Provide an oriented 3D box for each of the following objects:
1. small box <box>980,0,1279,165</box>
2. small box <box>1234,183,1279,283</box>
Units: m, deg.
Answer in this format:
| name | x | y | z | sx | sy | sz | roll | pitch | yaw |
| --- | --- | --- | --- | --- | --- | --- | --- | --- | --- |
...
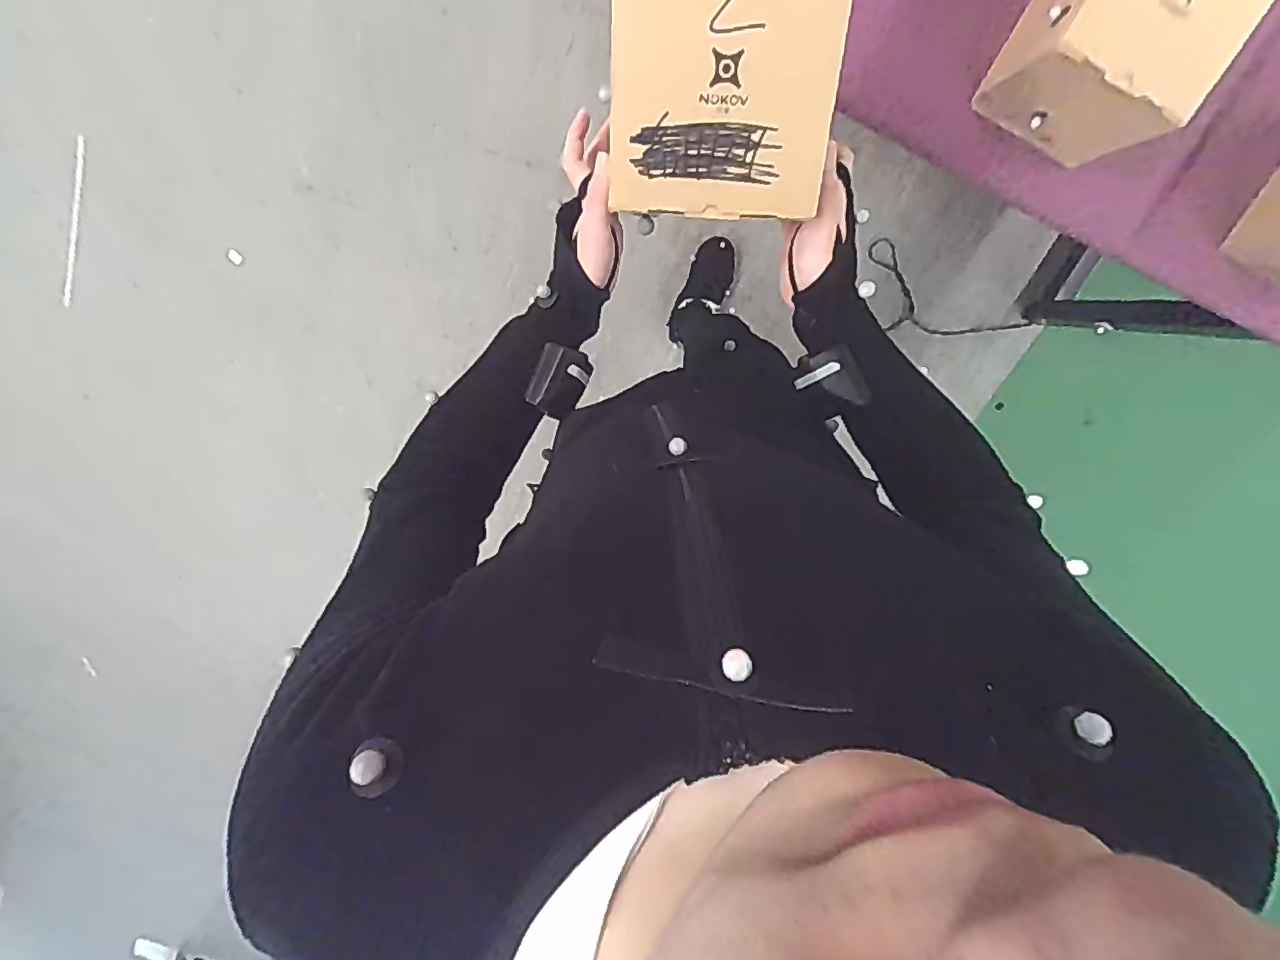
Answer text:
| name | x | y | z | sx | sy | sz | roll | pitch | yaw |
| --- | --- | --- | --- | --- | --- | --- | --- | --- | --- |
| small box | 0.528 | -0.492 | 0.598 | 0.168 | 0.176 | 0.179 | 26 | 107 | -5 |
| small box | 0.886 | -0.322 | 0.629 | 0.168 | 0.176 | 0.179 | 24 | 108 | -3 |
